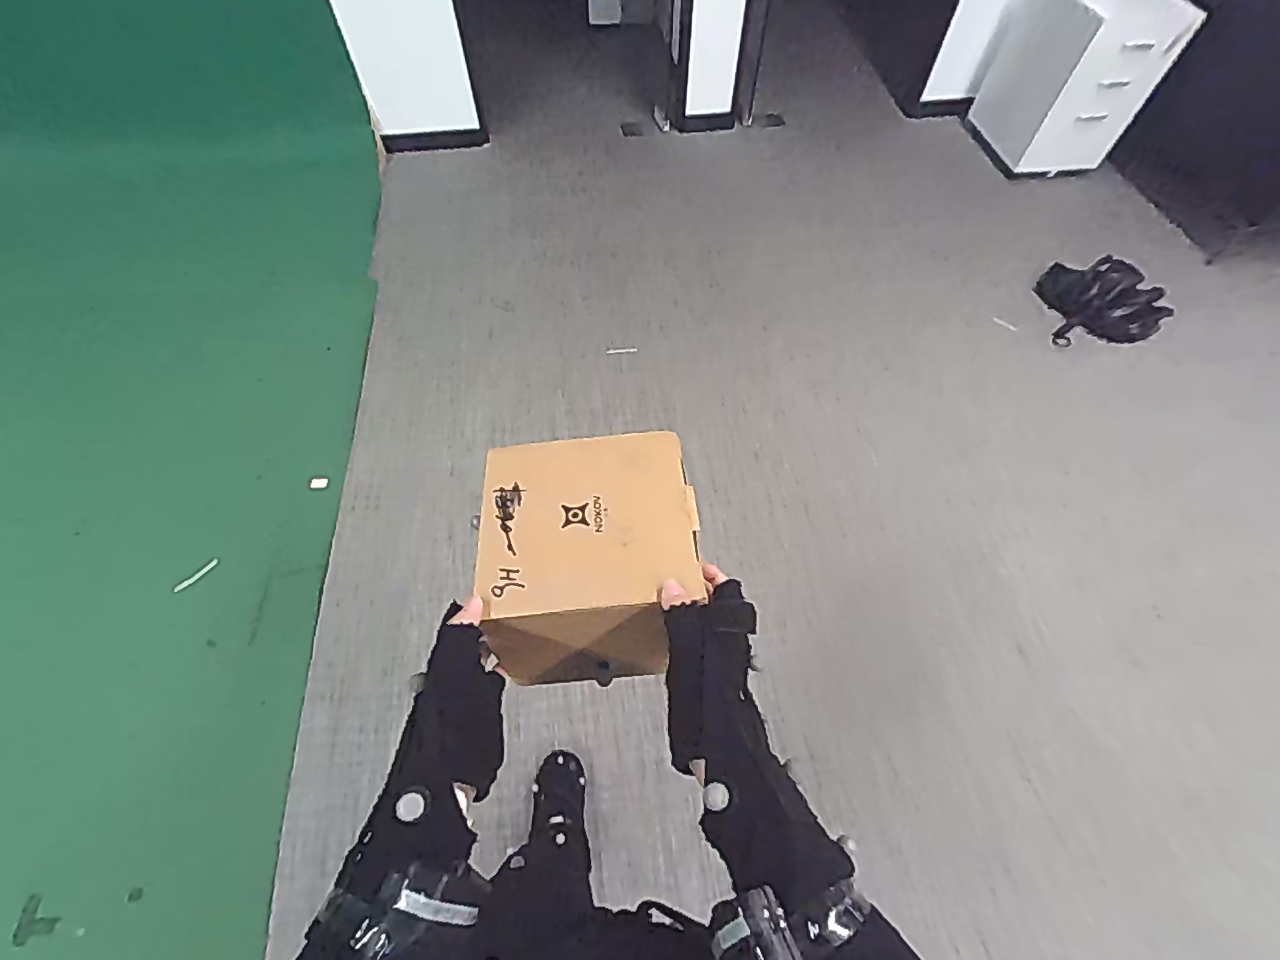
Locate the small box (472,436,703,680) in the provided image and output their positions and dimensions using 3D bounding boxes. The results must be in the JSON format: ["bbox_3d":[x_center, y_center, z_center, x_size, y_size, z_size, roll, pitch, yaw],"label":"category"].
[{"bbox_3d":[-0.045,0.078,0.514,0.179,0.176,0.168,-4,52,-3],"label":"small box"}]
